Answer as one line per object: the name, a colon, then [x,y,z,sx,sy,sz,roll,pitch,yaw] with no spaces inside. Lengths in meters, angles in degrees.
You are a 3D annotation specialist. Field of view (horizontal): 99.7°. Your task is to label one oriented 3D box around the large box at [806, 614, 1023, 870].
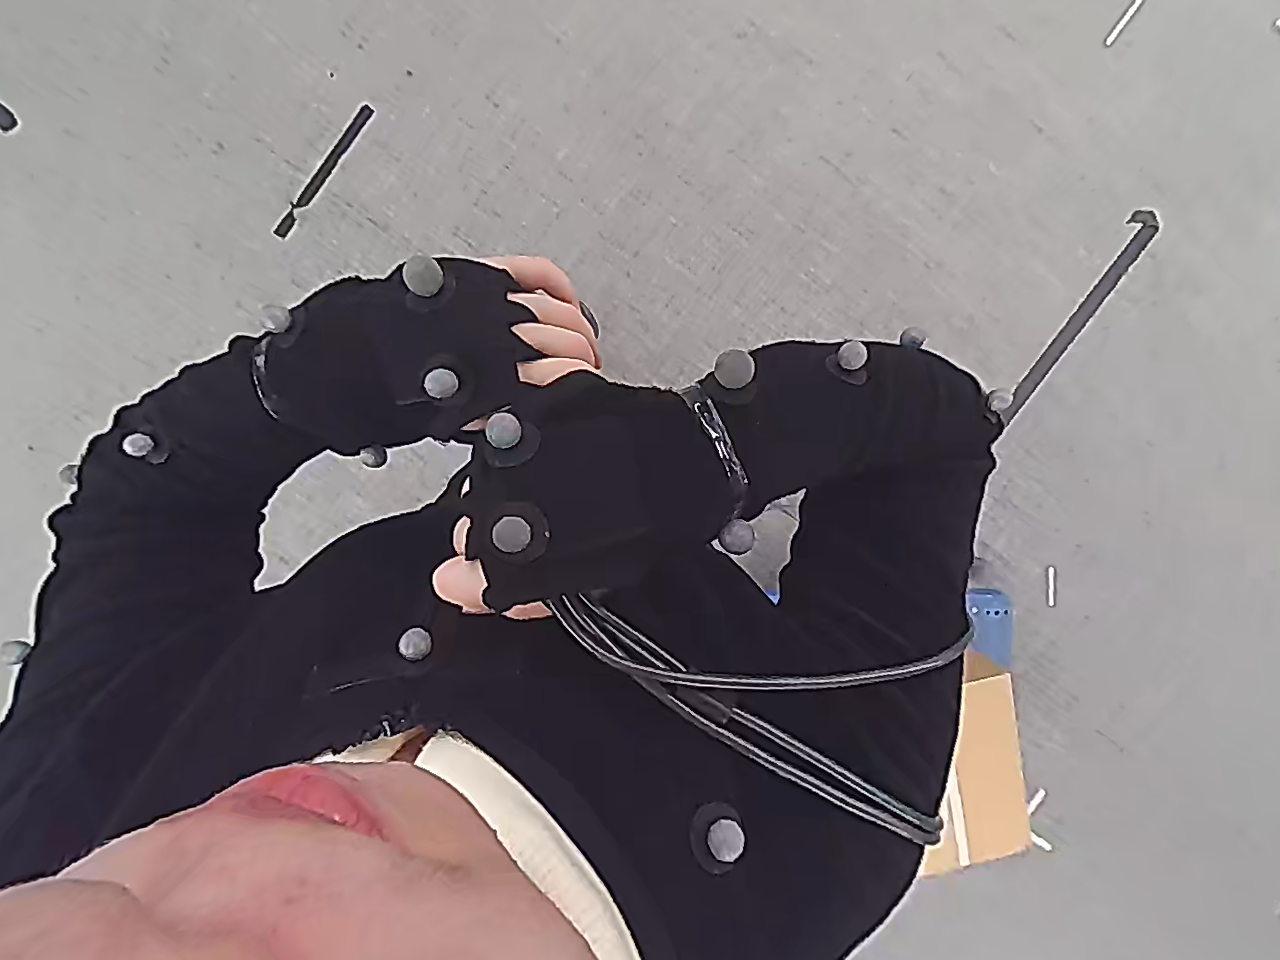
large box: [0.619,0.583,1.269,0.320,0.320,0.408,-11,97,-2]
